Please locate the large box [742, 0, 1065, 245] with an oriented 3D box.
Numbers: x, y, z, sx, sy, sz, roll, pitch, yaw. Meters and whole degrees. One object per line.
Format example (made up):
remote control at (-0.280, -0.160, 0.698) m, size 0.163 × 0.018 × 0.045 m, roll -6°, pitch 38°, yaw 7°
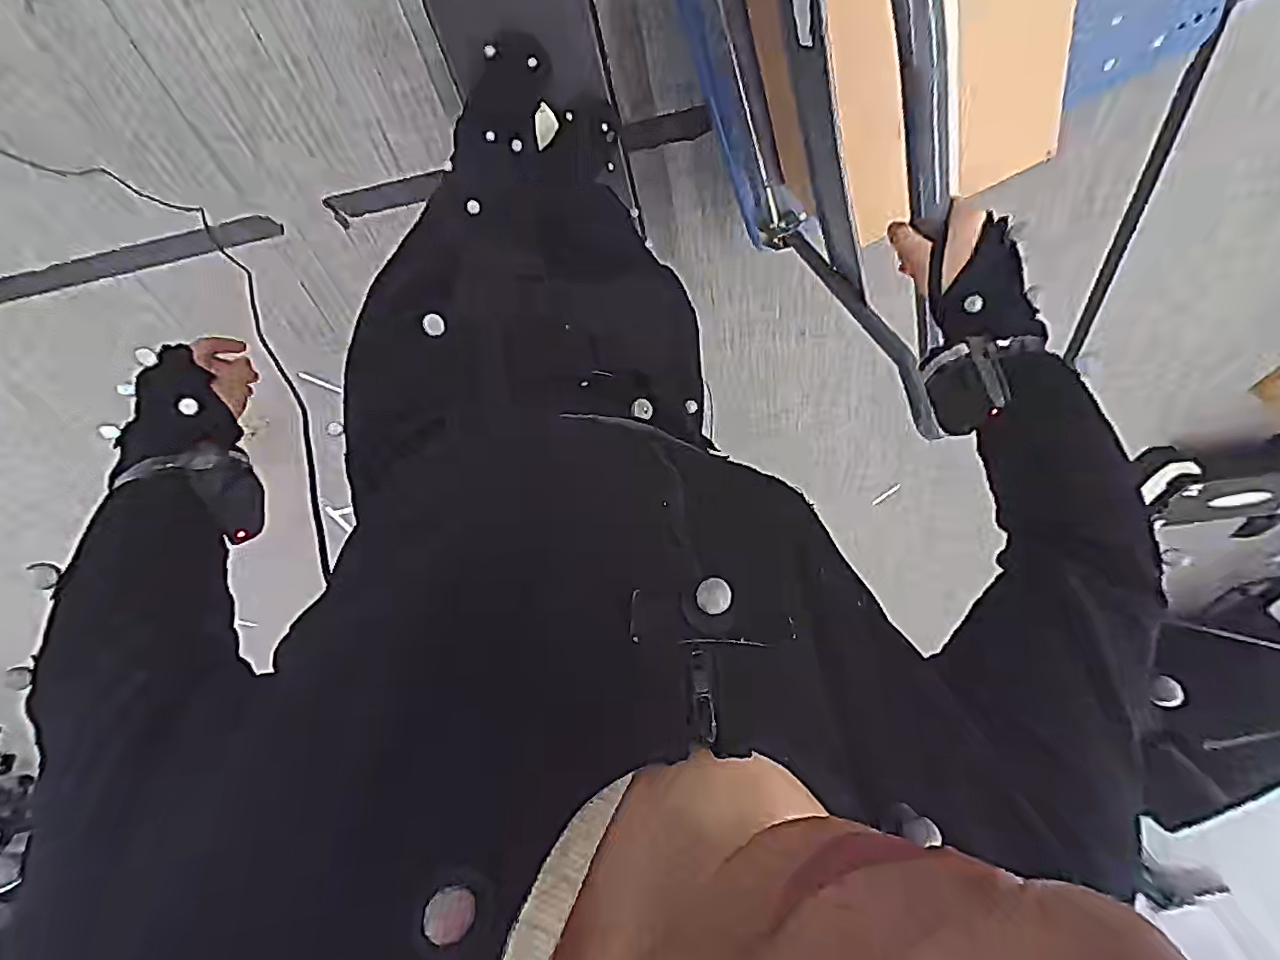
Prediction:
large box at (0.364, -0.652, 0.797) m, size 0.320 × 0.320 × 0.408 m, roll -23°, pitch 136°, yaw 12°
